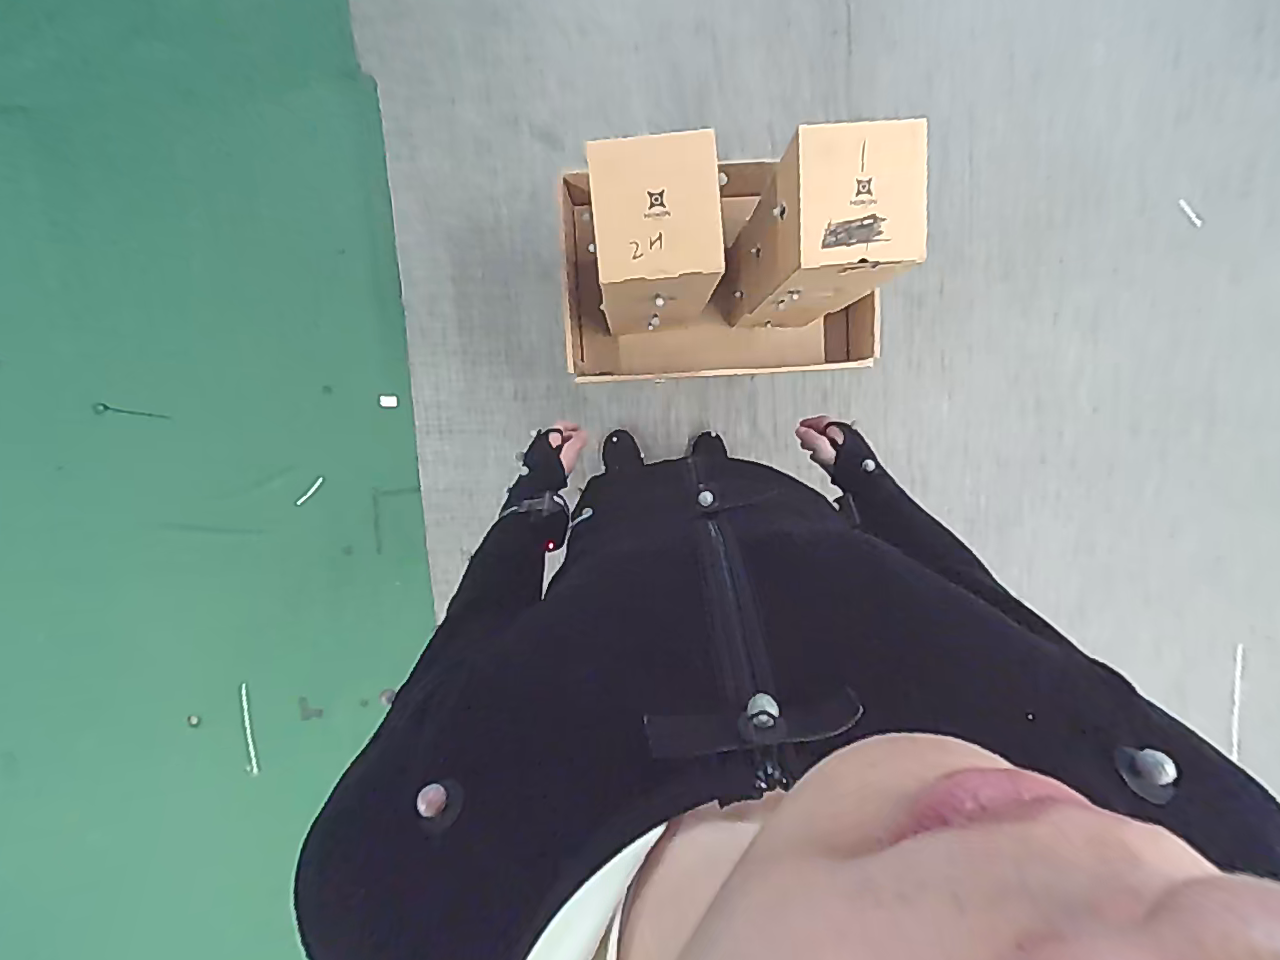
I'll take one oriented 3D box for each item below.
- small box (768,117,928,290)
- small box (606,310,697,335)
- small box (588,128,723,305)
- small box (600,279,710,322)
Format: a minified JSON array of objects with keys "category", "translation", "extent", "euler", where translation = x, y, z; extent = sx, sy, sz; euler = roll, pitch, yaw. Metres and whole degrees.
[{"category":"small box","translation":[0.281,-0.374,0.765],"extent":[0.168,0.176,0.179],"euler":[-3,96,0]},{"category":"small box","translation":[0.018,-0.393,1.094],"extent":[0.179,0.176,0.168],"euler":[-4,96,-1]},{"category":"small box","translation":[0.020,-0.360,0.766],"extent":[0.168,0.176,0.179],"euler":[-5,97,1]},{"category":"small box","translation":[0.018,-0.374,0.931],"extent":[0.179,0.176,0.168],"euler":[-6,97,1]}]
